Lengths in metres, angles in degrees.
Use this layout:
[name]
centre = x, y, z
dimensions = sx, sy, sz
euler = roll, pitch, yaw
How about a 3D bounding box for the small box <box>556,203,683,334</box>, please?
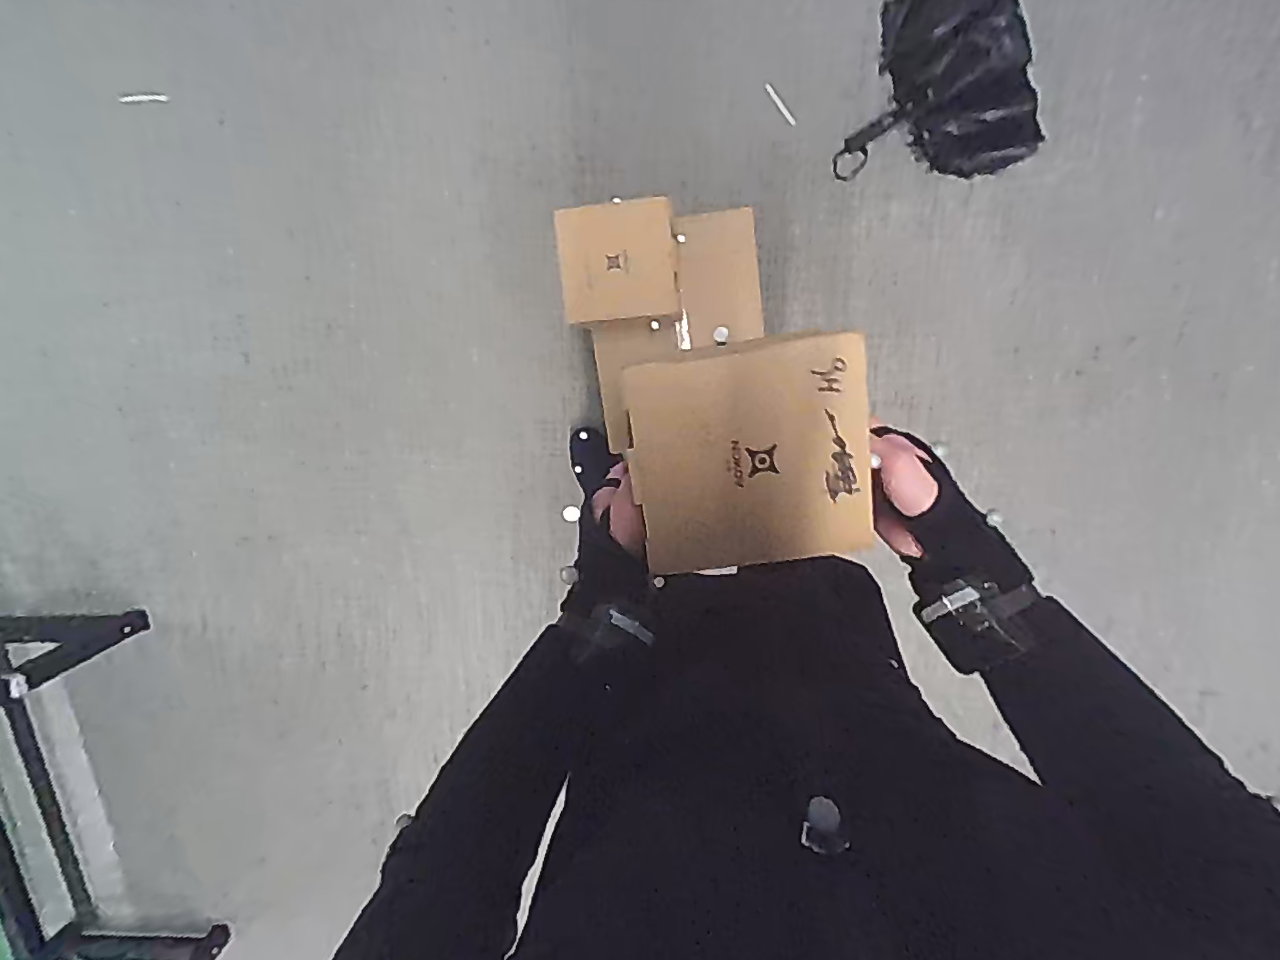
[small box]
centre = -0.023, -0.333, 0.884
dimensions = 0.179, 0.176, 0.168
euler = -4, 101, 9
